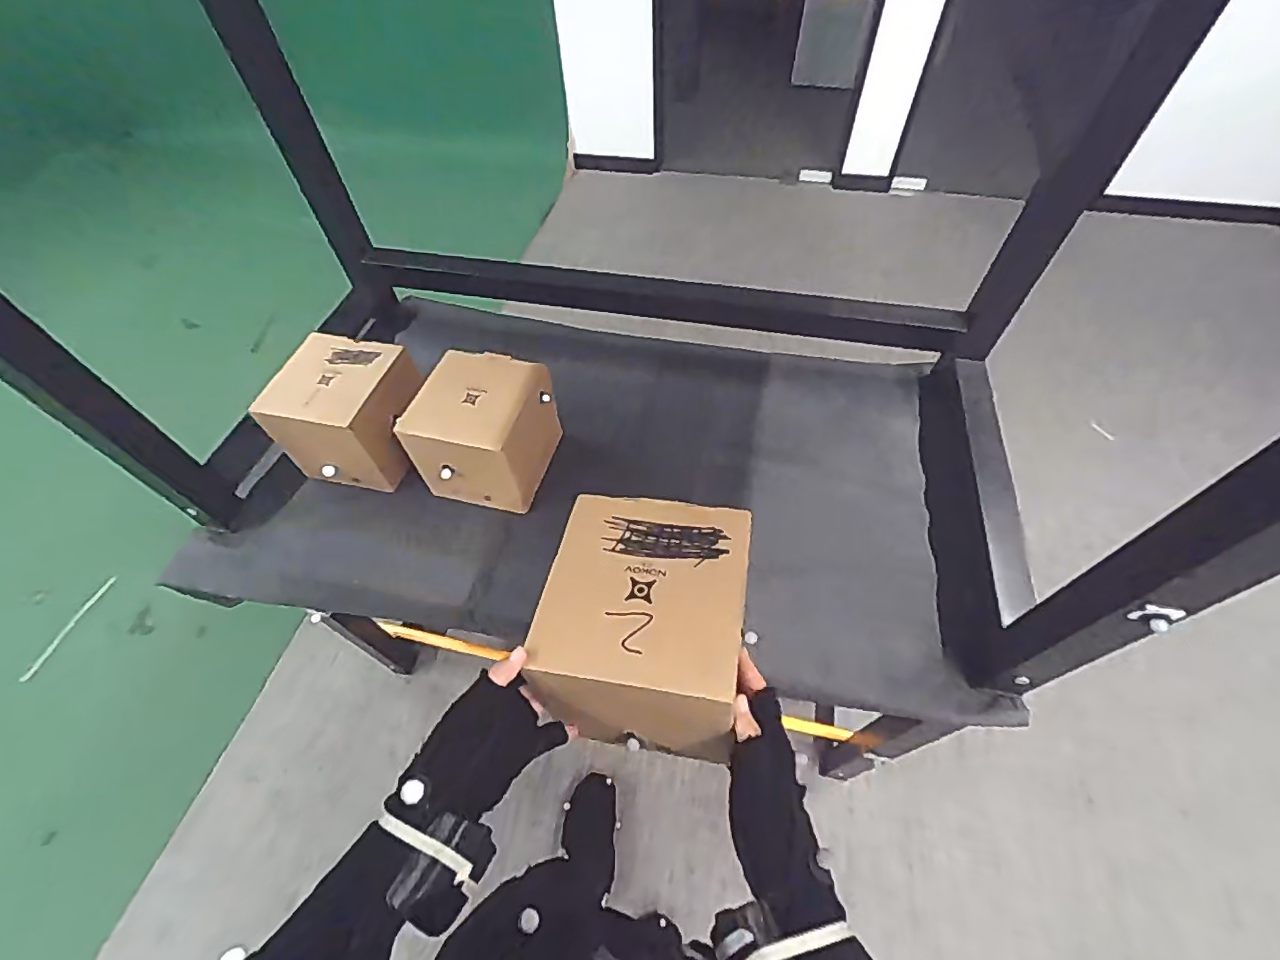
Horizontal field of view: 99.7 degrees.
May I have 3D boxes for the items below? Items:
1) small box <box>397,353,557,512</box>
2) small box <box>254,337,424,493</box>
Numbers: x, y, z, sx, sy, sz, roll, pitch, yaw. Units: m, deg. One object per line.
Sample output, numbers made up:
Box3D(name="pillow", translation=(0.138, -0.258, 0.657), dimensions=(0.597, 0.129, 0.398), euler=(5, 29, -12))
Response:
Box3D(name="small box", translation=(-0.242, -0.071, 0.860), dimensions=(0.168, 0.176, 0.179), euler=(11, 55, 9))
Box3D(name="small box", translation=(-0.465, -0.105, 0.888), dimensions=(0.168, 0.176, 0.179), euler=(10, 56, 9))
